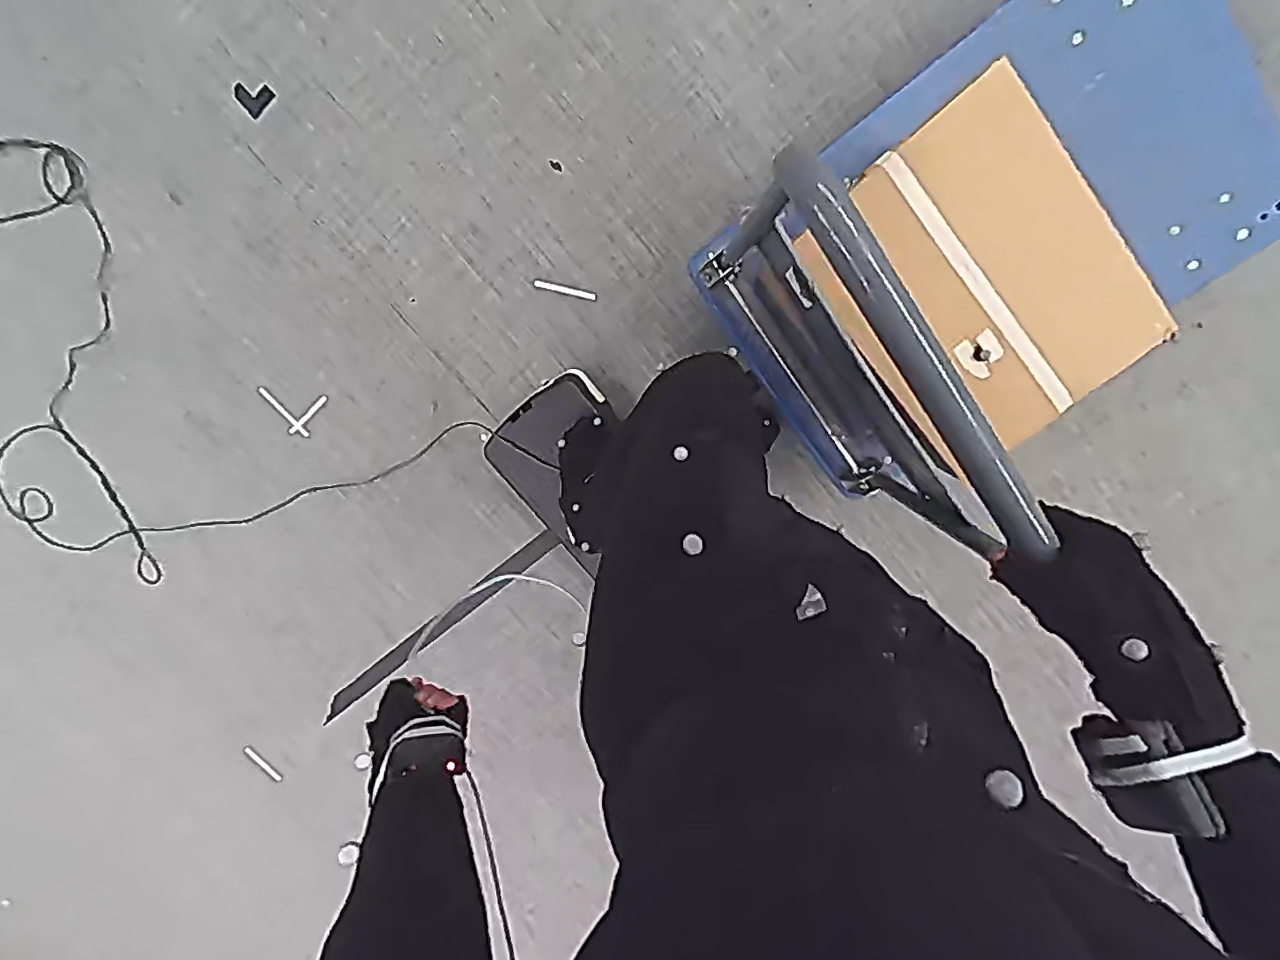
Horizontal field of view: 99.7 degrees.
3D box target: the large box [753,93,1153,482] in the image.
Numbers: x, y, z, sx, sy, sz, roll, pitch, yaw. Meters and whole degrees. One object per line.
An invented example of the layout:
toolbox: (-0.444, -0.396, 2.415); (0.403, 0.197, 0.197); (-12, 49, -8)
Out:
large box: (0.439, -0.272, 0.854); (0.320, 0.320, 0.408); (-40, 100, 14)
